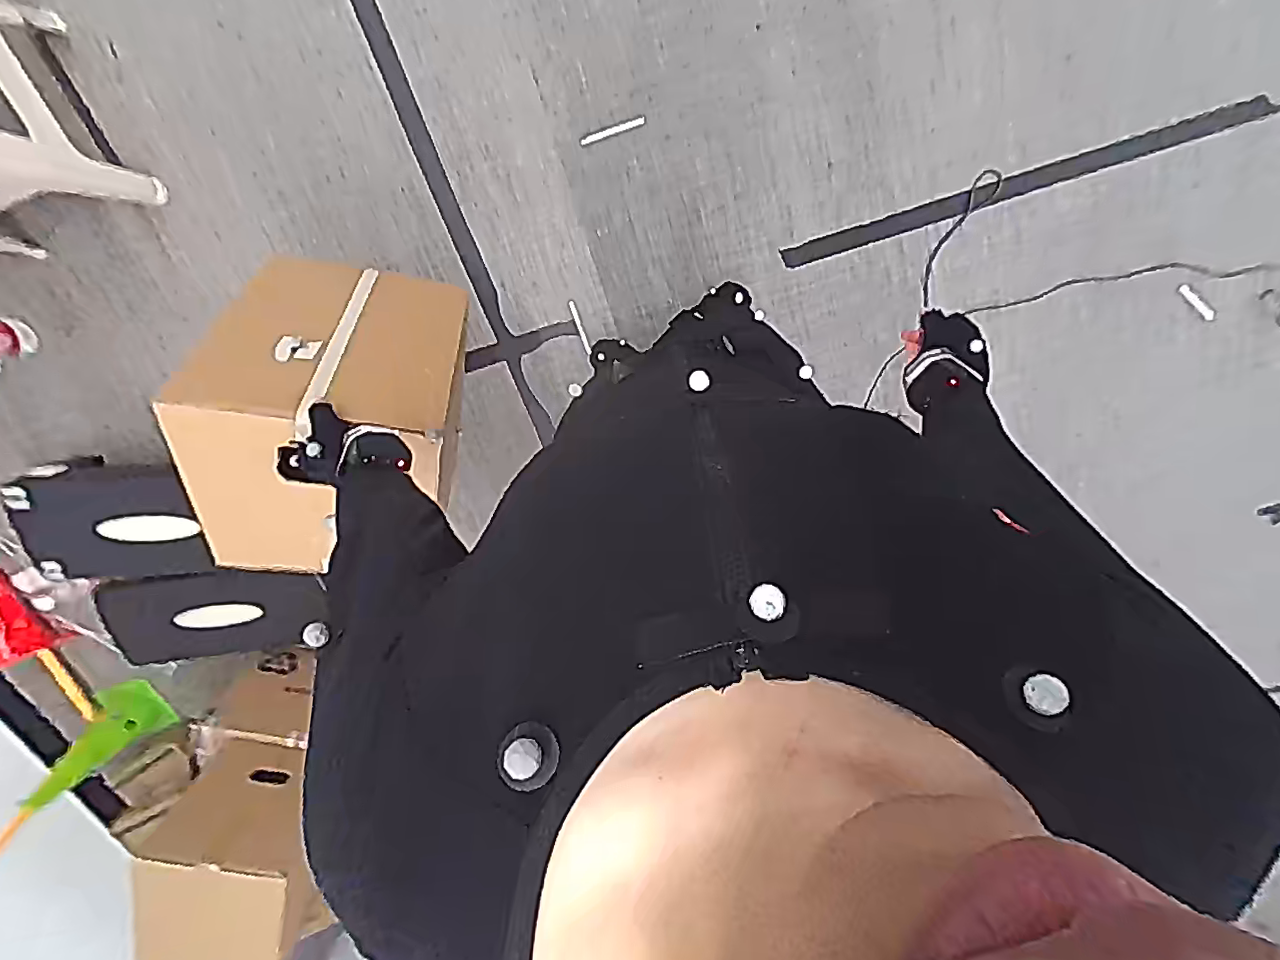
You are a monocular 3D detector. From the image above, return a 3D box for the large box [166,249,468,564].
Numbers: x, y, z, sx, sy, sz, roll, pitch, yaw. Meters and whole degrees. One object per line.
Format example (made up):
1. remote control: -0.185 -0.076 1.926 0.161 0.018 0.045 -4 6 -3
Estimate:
1. large box: -0.477 -0.119 0.904 0.320 0.408 0.320 7 136 -16
